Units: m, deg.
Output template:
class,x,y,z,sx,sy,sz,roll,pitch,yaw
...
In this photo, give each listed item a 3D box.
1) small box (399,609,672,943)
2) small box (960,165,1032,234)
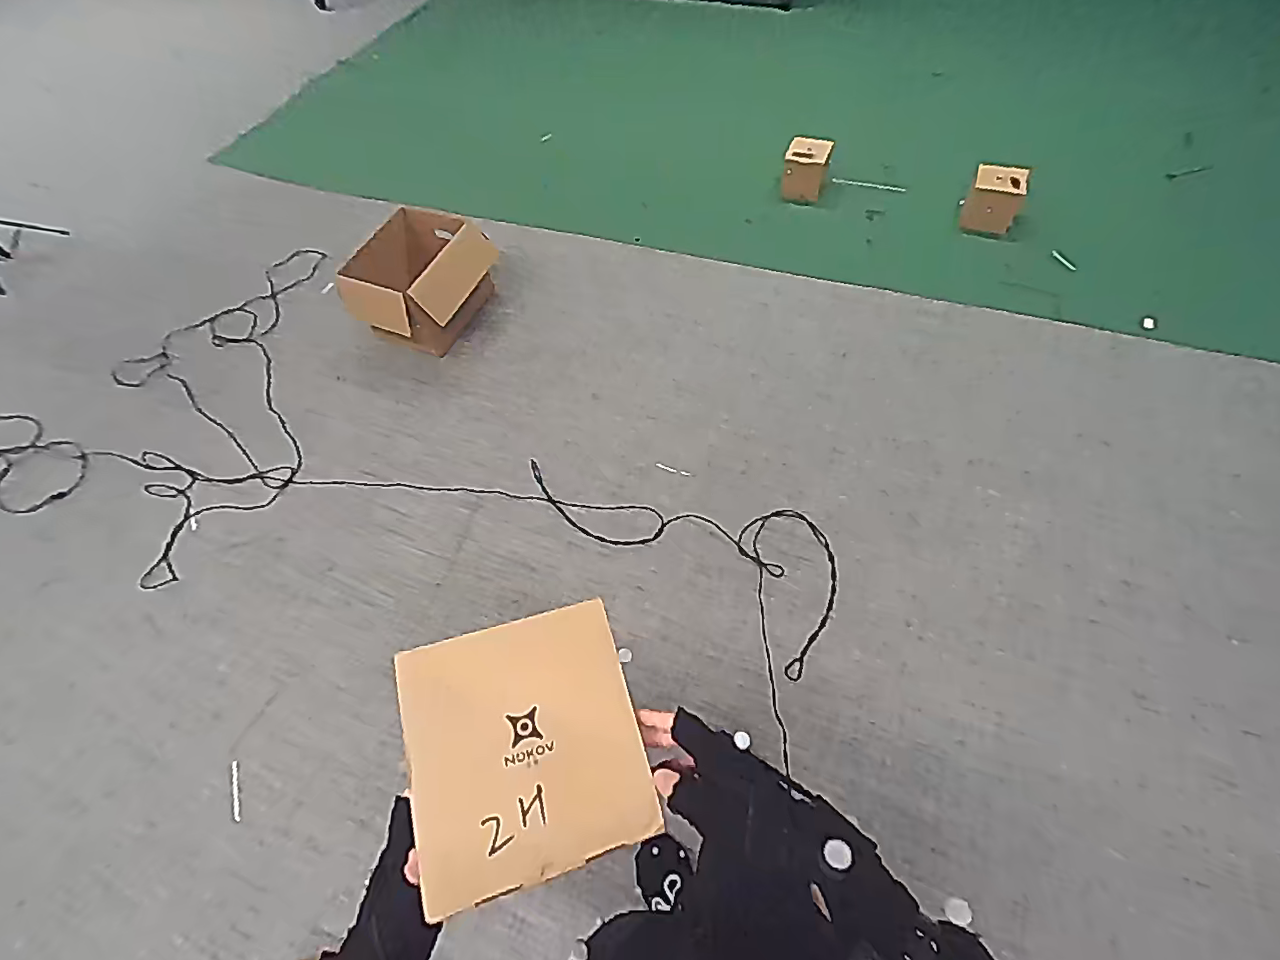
class,x,y,z,sx,sy,sz,roll,pitch,yaw
small box,-0.089,0.231,0.454,0.168,0.176,0.179,-13,66,-14
small box,1.376,-1.084,2.095,0.179,0.176,0.168,18,62,16
